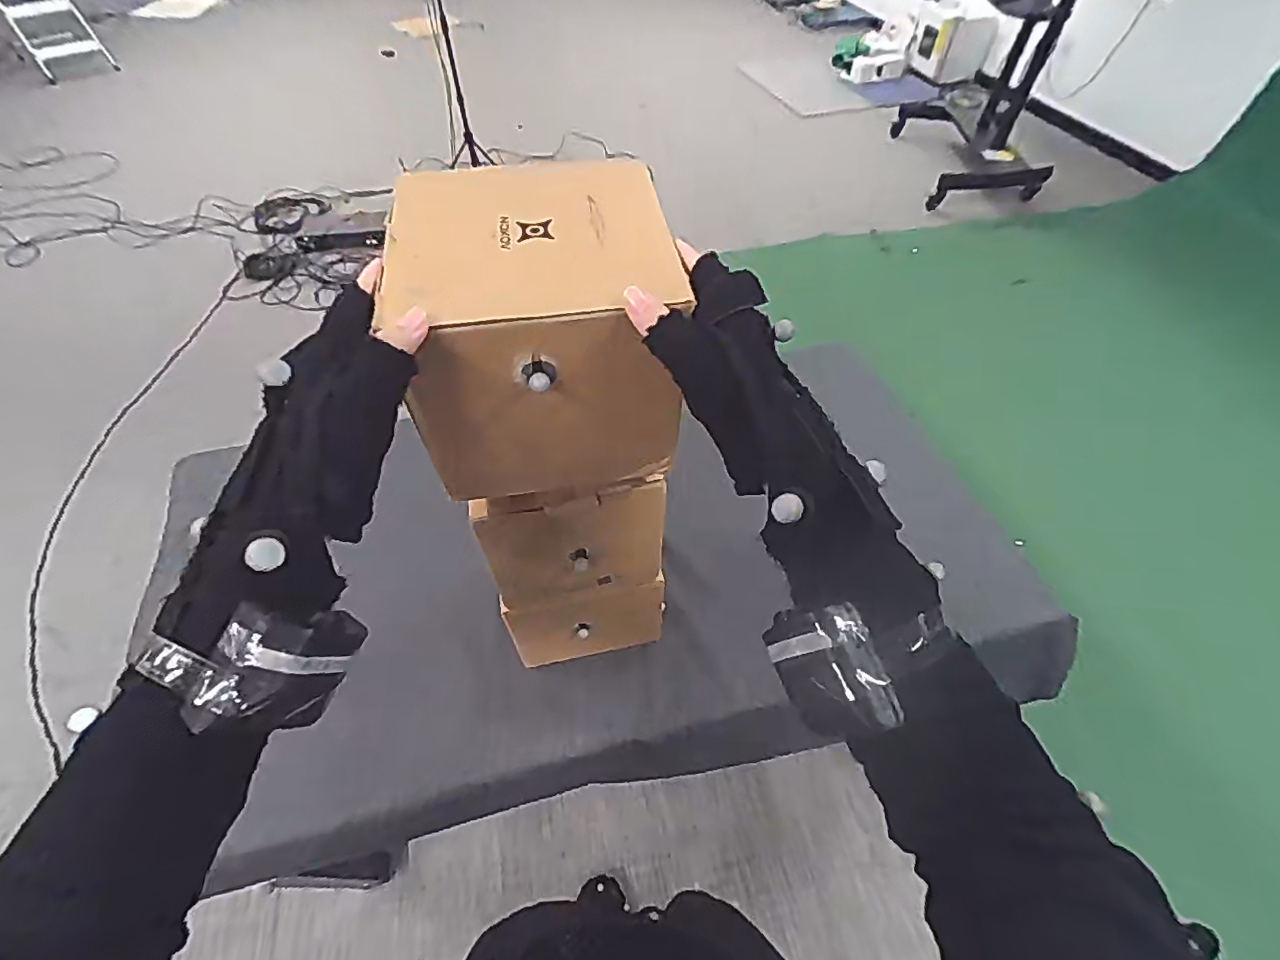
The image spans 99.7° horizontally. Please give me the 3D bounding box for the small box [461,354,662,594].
[{"bbox_3d":[-0.077,0.001,0.555,0.168,0.176,0.179,-11,54,-9],"label":"small box"}]

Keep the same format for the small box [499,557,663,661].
[{"bbox_3d":[-0.077,0.107,0.680,0.179,0.176,0.168,-10,53,-7],"label":"small box"}]
